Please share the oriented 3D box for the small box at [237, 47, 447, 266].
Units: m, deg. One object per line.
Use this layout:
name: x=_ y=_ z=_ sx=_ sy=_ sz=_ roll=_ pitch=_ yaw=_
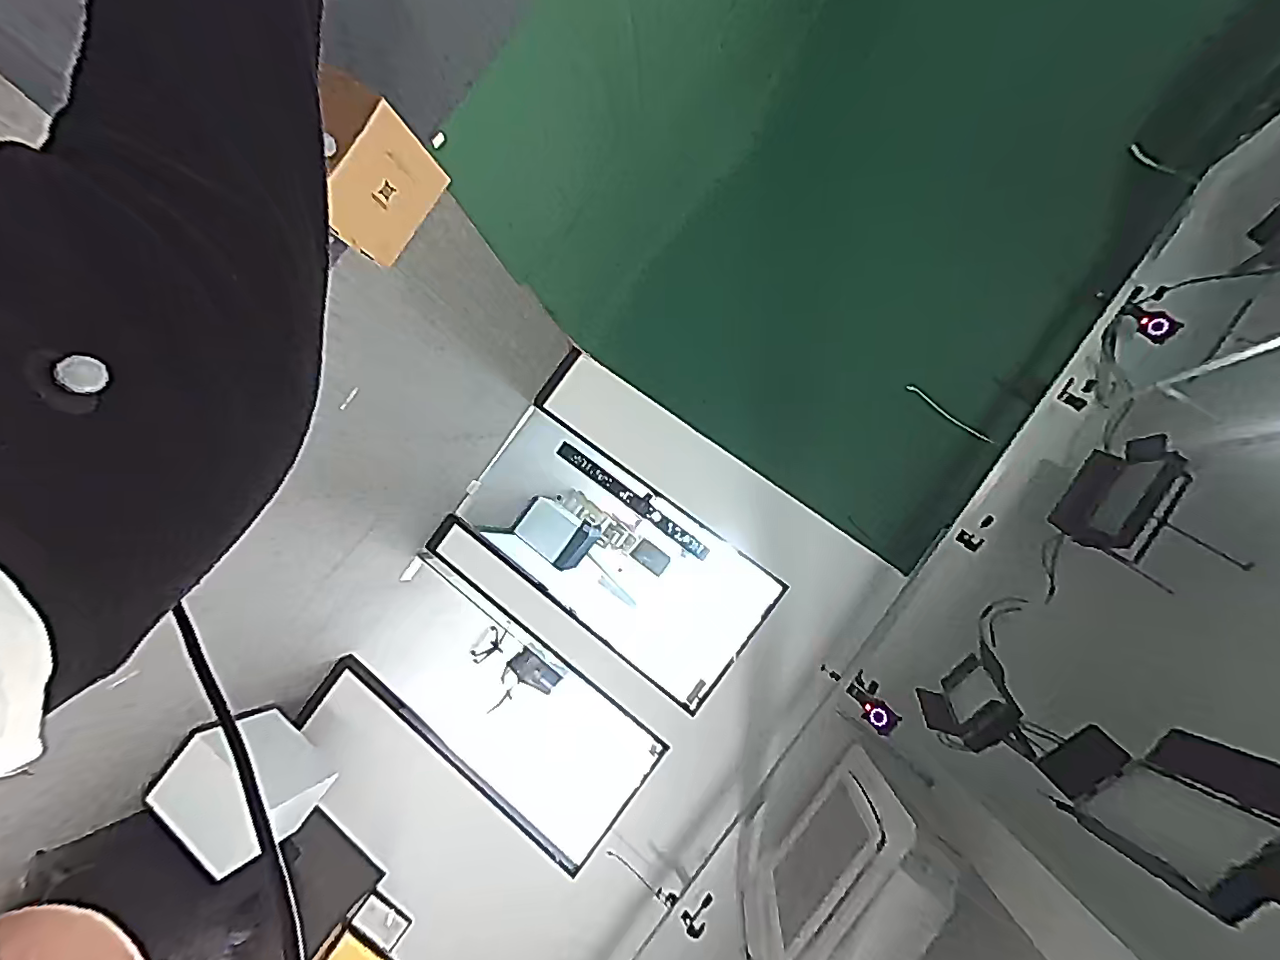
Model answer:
small box: x=-0.426 y=-0.457 z=0.779 sx=0.179 sy=0.176 sz=0.168 roll=-54 pitch=169 yaw=1
